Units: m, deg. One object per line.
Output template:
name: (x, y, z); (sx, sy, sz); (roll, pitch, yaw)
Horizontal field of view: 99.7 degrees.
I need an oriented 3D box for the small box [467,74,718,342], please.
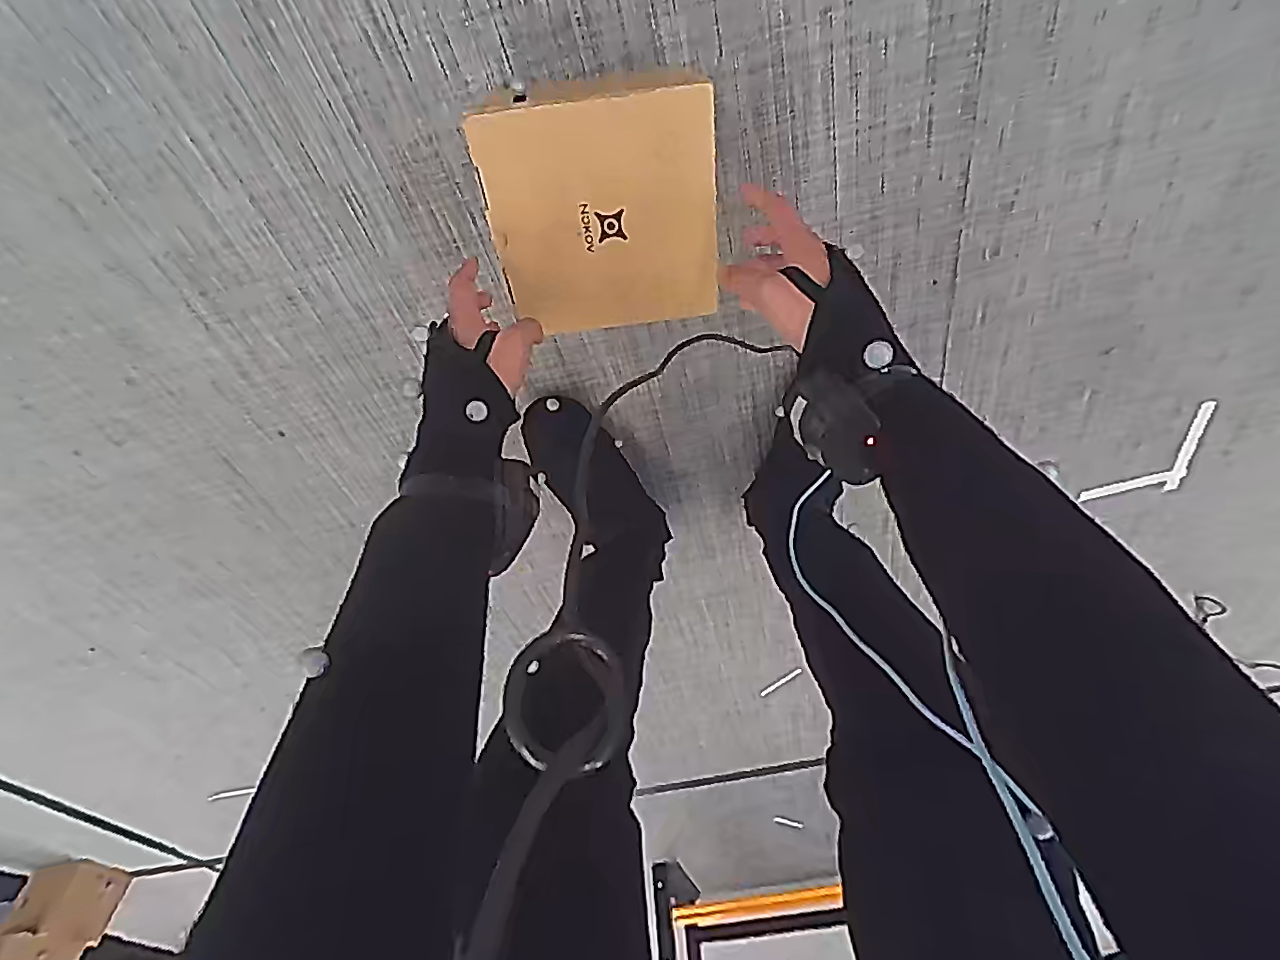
small box: (-0.031, -0.244, 0.480); (0.179, 0.176, 0.168); (-6, 131, 2)
